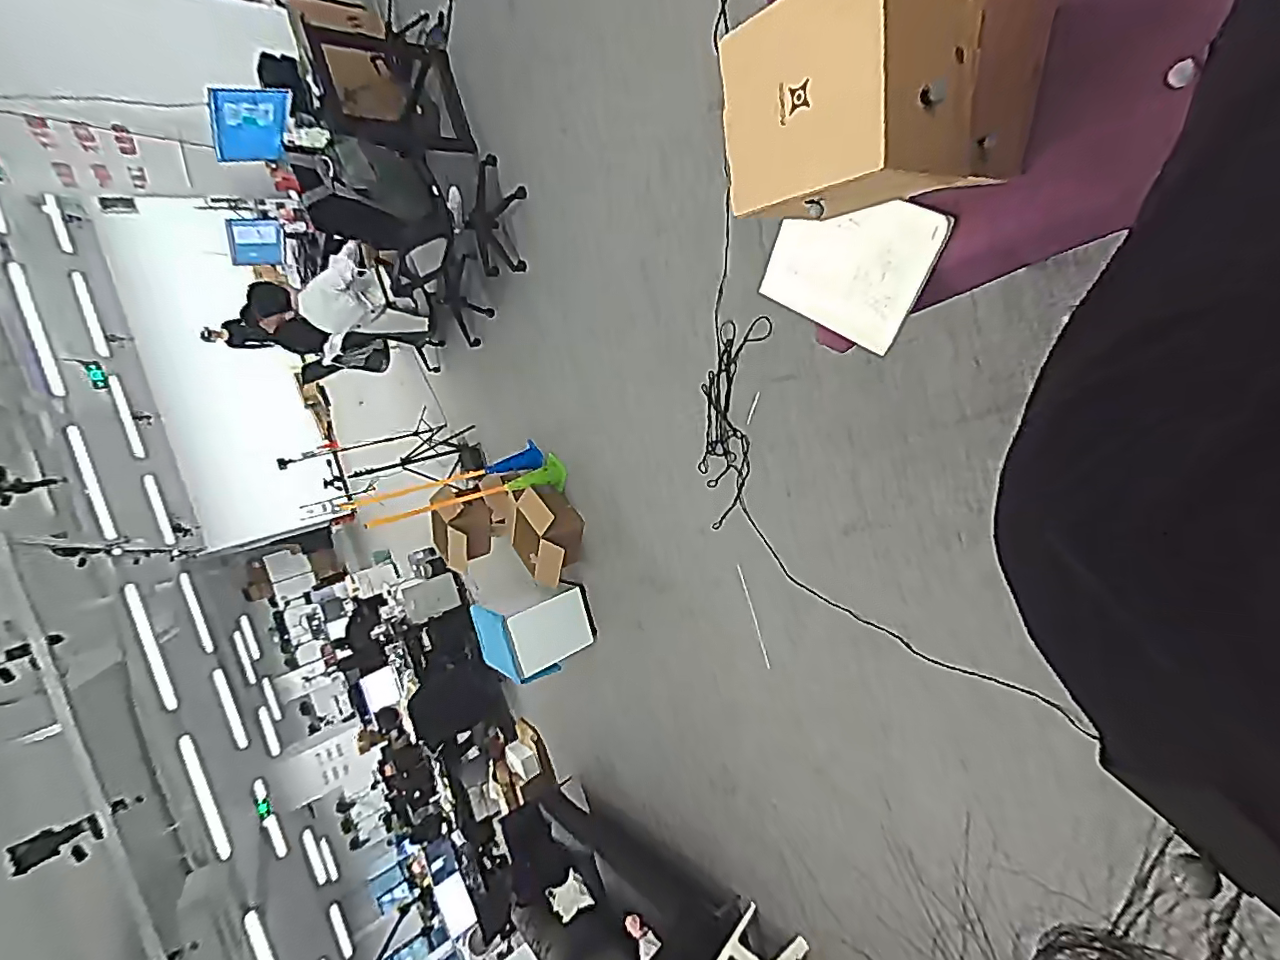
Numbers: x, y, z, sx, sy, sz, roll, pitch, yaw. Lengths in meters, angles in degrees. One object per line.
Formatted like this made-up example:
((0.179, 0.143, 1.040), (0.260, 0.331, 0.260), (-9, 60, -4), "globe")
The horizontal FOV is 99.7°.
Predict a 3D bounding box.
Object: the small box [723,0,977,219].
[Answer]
((0.210, -0.371, 0.541), (0.179, 0.176, 0.168), (13, 116, 53), "small box")
